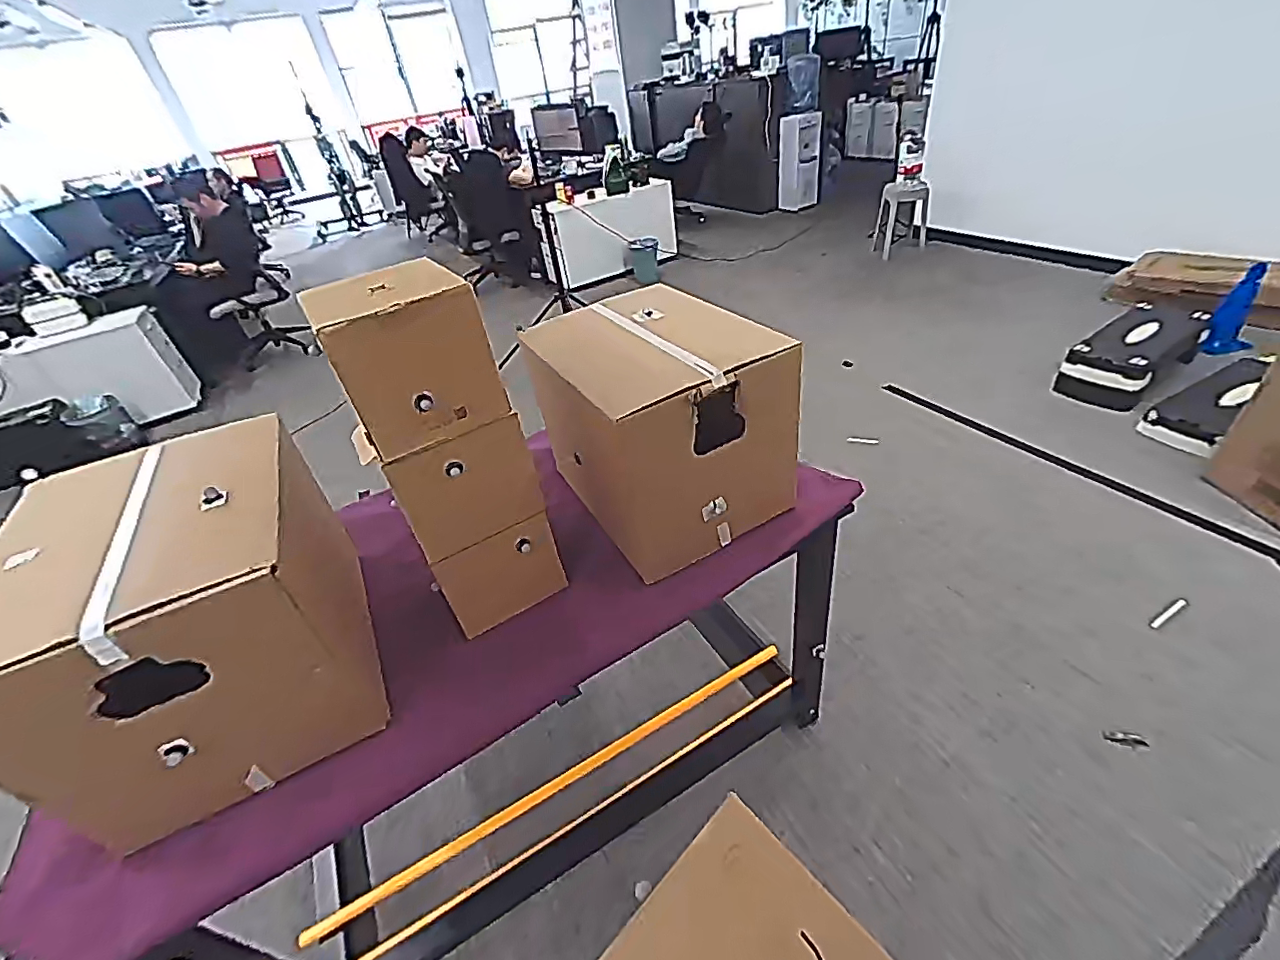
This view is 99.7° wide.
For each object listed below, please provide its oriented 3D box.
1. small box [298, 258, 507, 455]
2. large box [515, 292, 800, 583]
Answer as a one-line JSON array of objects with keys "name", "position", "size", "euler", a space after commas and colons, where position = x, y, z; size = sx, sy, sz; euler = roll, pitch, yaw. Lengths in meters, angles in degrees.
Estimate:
[{"name": "small box", "position": [-0.286, -0.155, 0.665], "size": [0.168, 0.176, 0.179], "euler": [-27, 41, -23]}, {"name": "large box", "position": [0.028, -0.099, 0.950], "size": [0.320, 0.320, 0.408], "euler": [-24, 38, -19]}]
